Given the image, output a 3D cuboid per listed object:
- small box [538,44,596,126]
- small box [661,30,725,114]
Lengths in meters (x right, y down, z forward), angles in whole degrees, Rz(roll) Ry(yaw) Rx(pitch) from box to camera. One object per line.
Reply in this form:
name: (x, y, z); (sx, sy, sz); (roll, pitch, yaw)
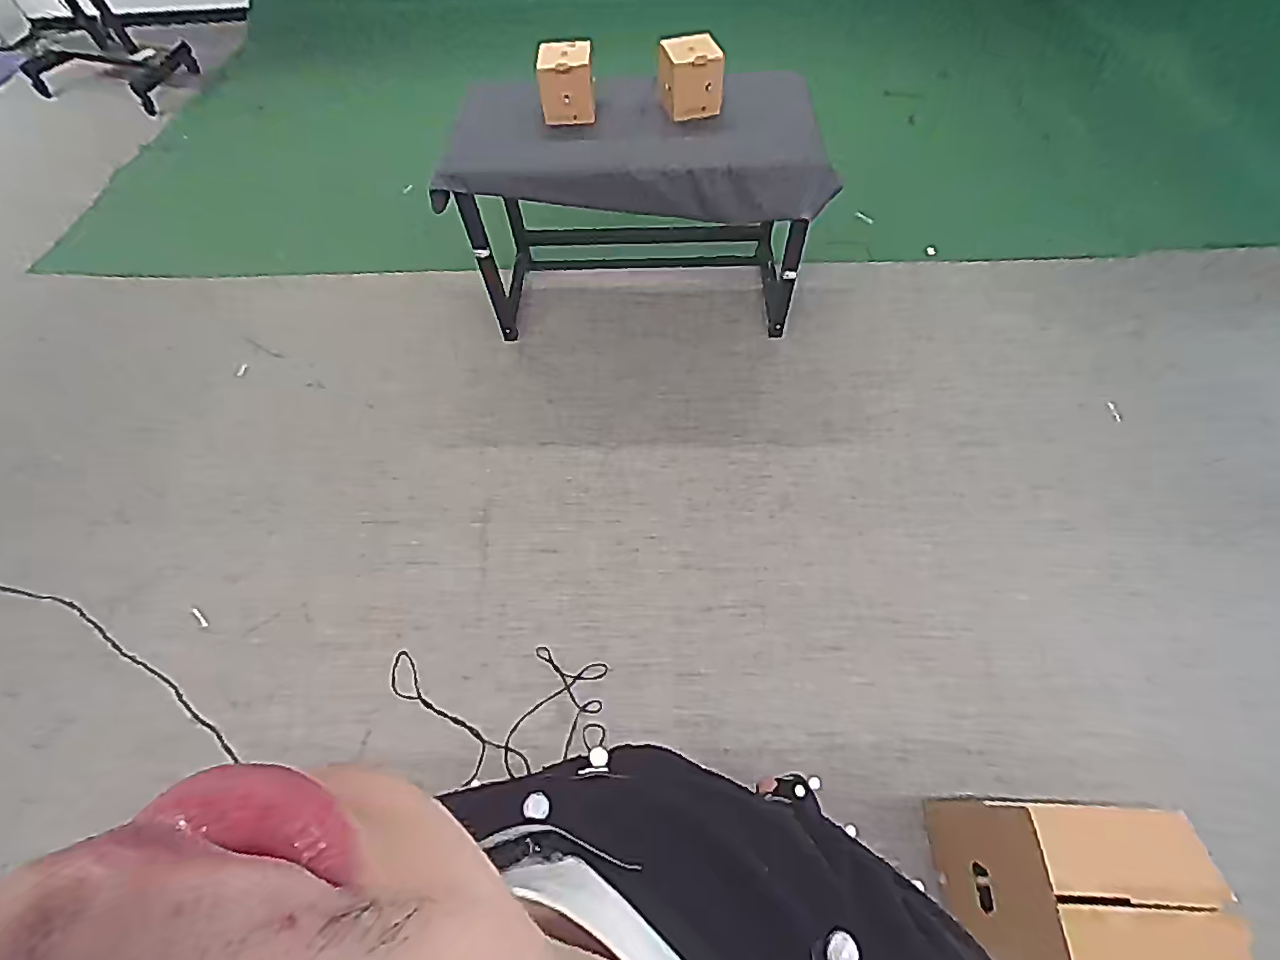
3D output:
small box: (-0.237, -1.297, 1.785); (0.168, 0.176, 0.179); (-5, 58, 1)
small box: (0.166, -1.319, 1.758); (0.168, 0.176, 0.179); (-11, 59, -7)
